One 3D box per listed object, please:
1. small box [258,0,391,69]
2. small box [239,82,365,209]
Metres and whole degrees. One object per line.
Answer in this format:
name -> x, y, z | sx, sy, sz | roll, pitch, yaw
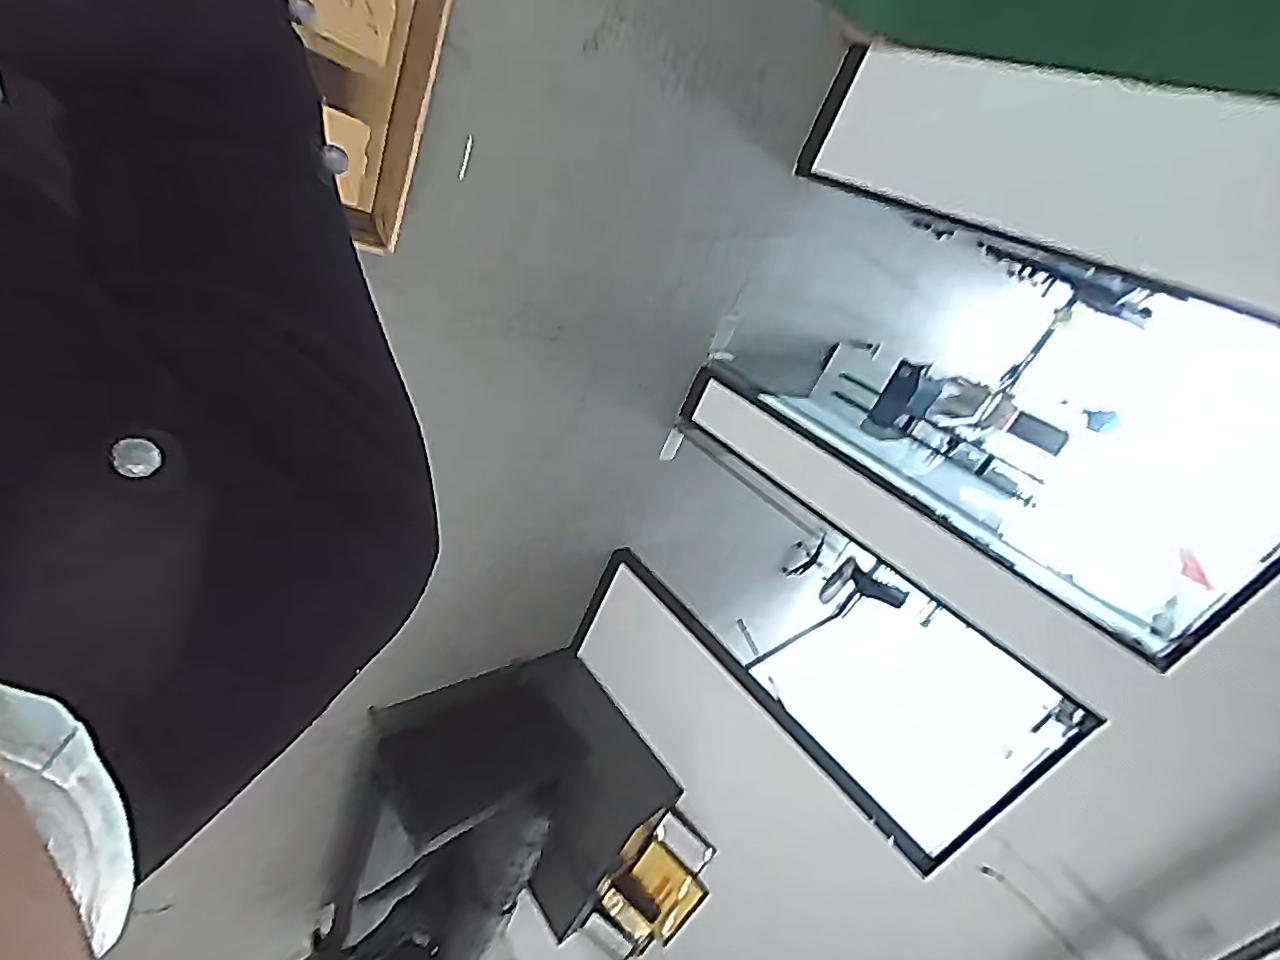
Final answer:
small box -> -0.601, -0.931, 1.029 | 0.179, 0.176, 0.168 | -3, 127, -49
small box -> -0.712, -0.702, 1.136 | 0.179, 0.176, 0.168 | -2, 124, -48
